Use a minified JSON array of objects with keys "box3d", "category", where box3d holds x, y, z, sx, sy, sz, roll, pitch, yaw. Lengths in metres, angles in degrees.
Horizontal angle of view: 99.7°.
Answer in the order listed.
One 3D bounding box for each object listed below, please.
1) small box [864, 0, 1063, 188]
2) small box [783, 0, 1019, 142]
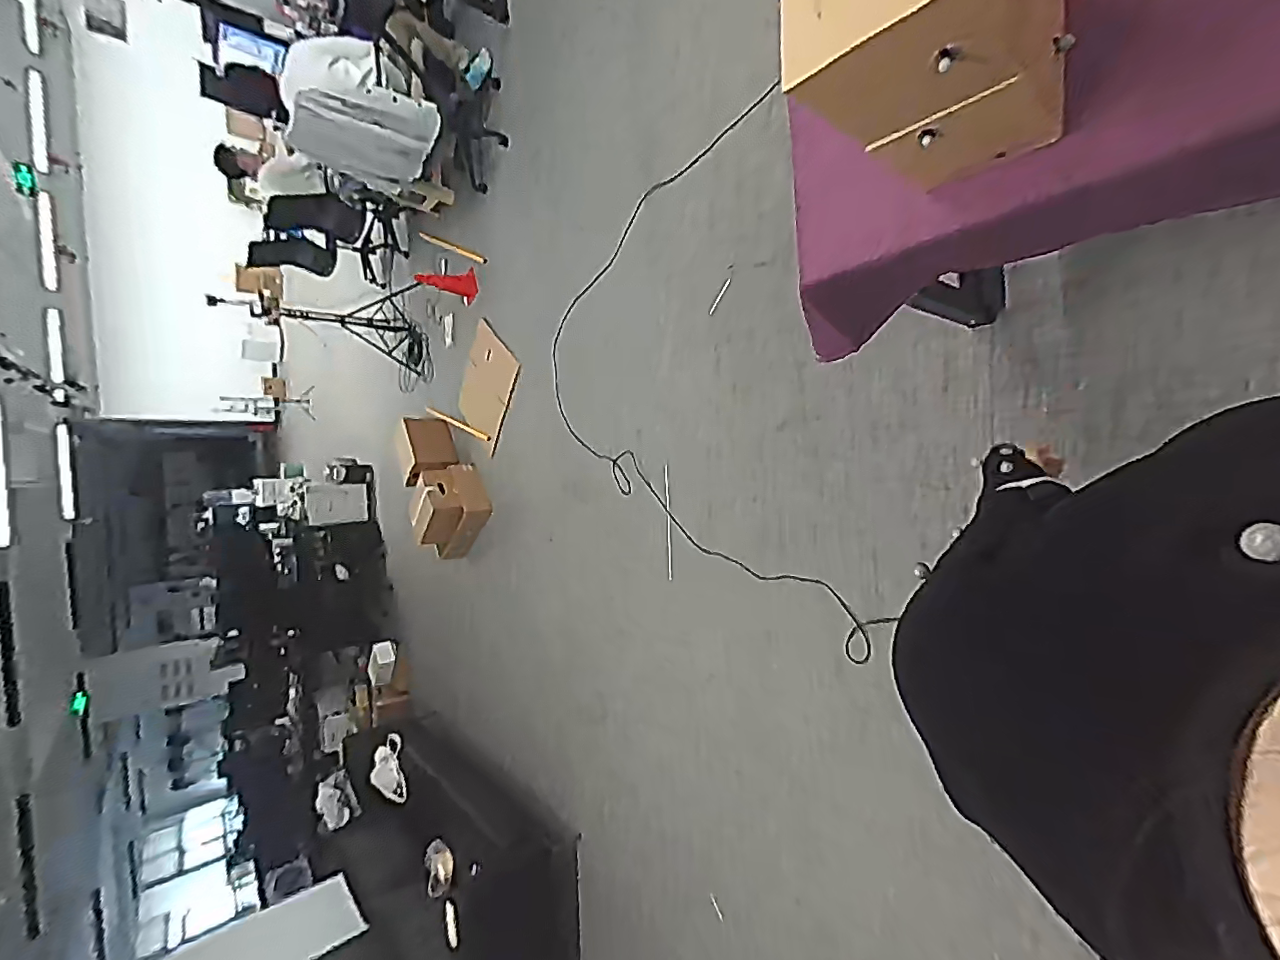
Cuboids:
[{"box3d":[0.390,-0.494,0.655,0.168,0.176,0.179,1,93,50],"category":"small box"},{"box3d":[0.266,-0.486,0.548,0.179,0.176,0.168,2,95,50],"category":"small box"}]
